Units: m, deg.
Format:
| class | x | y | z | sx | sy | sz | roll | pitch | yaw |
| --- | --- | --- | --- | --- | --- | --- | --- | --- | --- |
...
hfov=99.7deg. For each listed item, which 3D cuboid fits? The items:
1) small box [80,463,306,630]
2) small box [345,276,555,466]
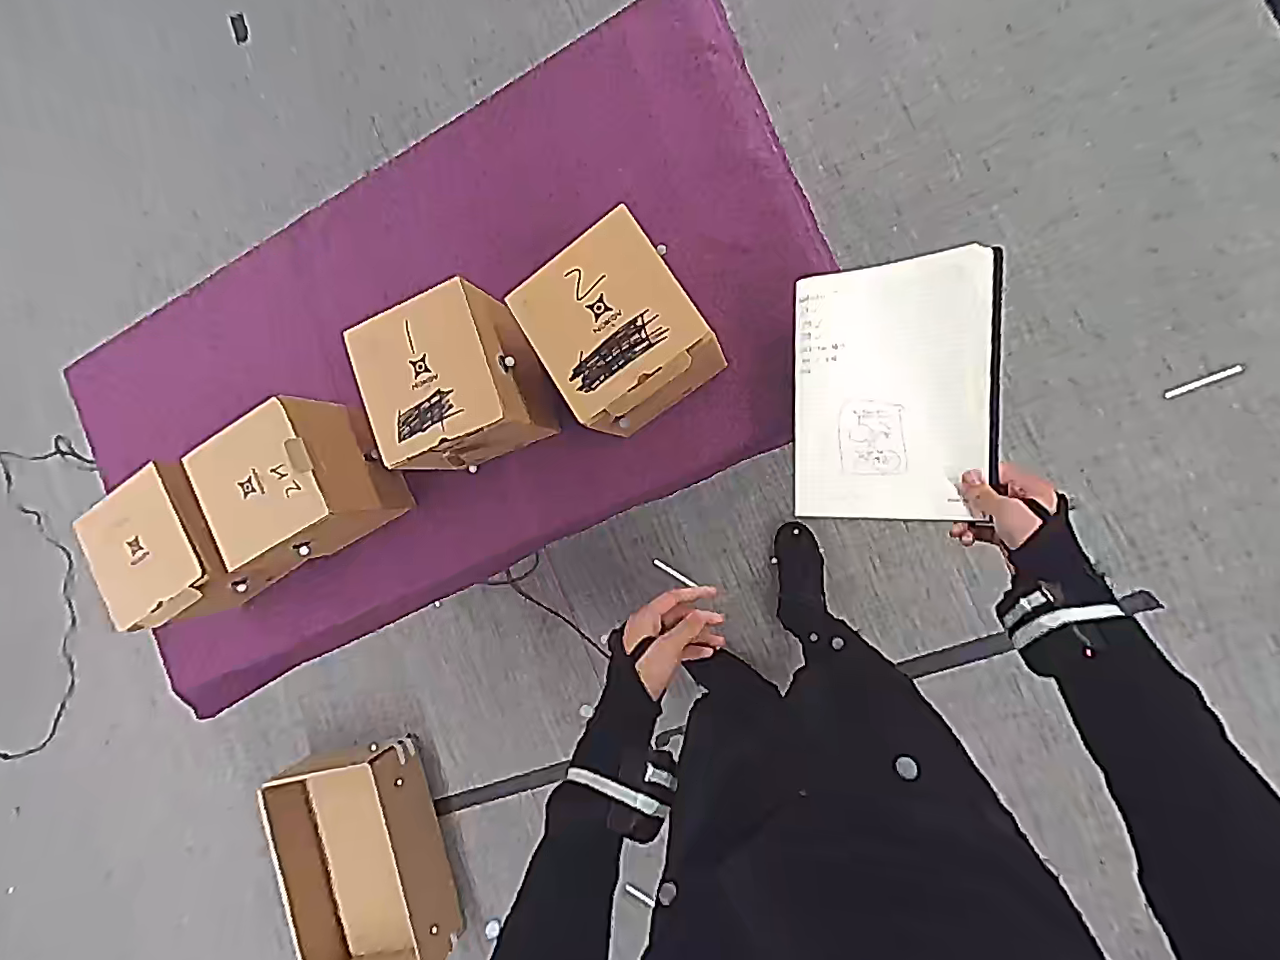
| class | x | y | z | sx | sy | sz | roll | pitch | yaw |
| --- | --- | --- | --- | --- | --- | --- | --- | --- | --- |
| small box | -0.642 | 0.087 | 0.797 | 0.168 | 0.176 | 0.179 | -31 | 84 | 11 |
| small box | -0.231 | -0.125 | 0.697 | 0.168 | 0.176 | 0.179 | -20 | 86 | 12 |
